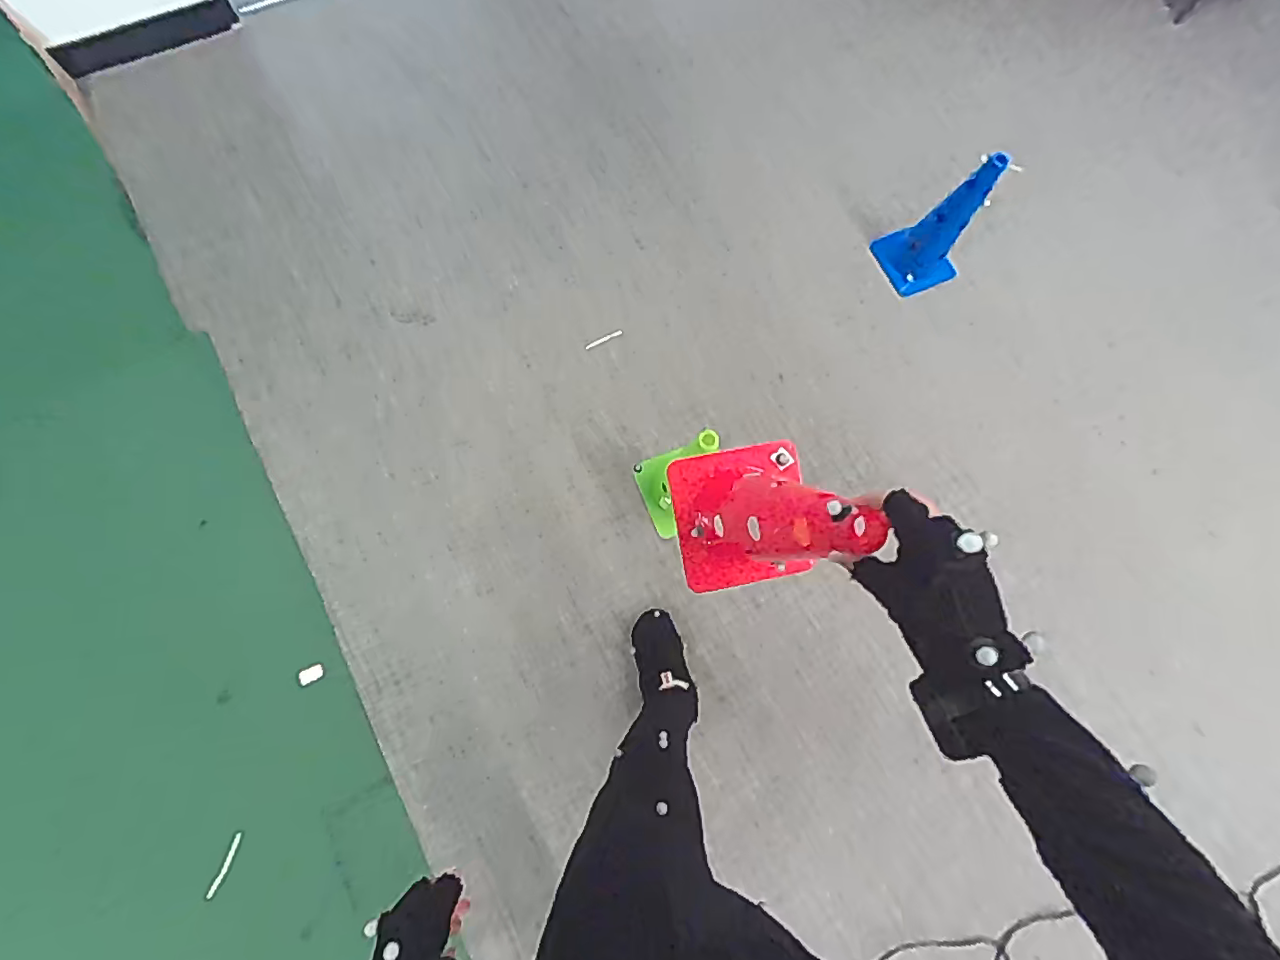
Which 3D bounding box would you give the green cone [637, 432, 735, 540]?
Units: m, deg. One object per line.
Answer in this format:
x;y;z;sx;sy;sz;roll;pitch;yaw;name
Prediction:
0.124;-0.017;1.183;0.202;0.368;0.200;-21;76;-10;green cone
